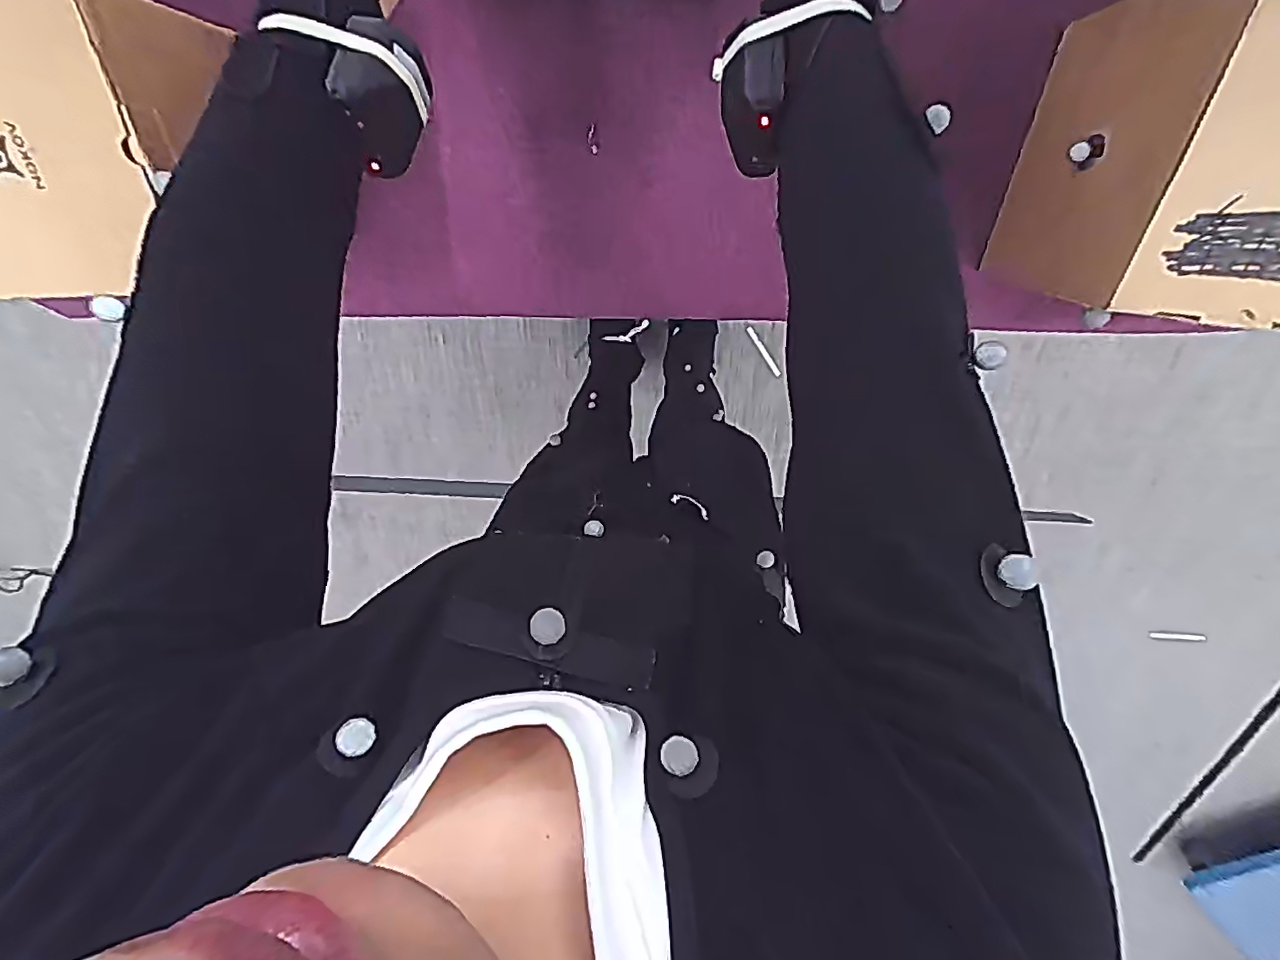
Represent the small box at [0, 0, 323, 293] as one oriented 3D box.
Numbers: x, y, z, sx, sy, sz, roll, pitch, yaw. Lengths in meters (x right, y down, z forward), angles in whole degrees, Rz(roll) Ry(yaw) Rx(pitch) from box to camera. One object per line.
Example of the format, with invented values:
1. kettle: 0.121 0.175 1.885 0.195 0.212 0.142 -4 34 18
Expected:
1. small box: -0.384 -0.237 0.401 0.179 0.176 0.168 -2 118 3
